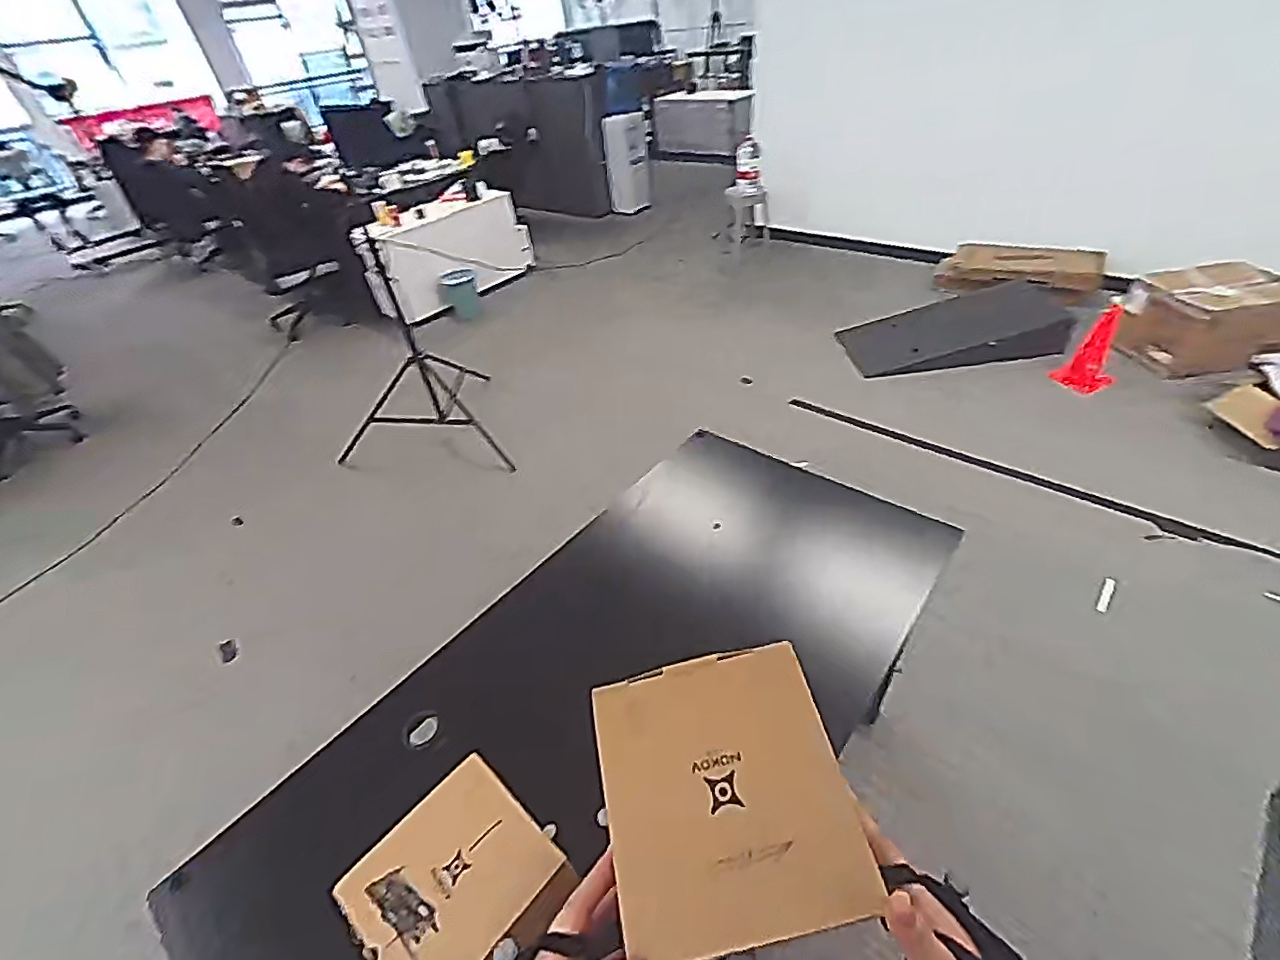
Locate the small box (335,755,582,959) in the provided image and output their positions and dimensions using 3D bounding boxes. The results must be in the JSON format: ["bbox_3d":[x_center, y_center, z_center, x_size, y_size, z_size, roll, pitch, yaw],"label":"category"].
[{"bbox_3d":[-0.185,0.458,0.596,0.168,0.176,0.179,27,51,34],"label":"small box"}]

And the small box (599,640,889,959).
[{"bbox_3d":[0.070,0.260,0.442,0.168,0.176,0.179,-14,52,0],"label":"small box"}]
